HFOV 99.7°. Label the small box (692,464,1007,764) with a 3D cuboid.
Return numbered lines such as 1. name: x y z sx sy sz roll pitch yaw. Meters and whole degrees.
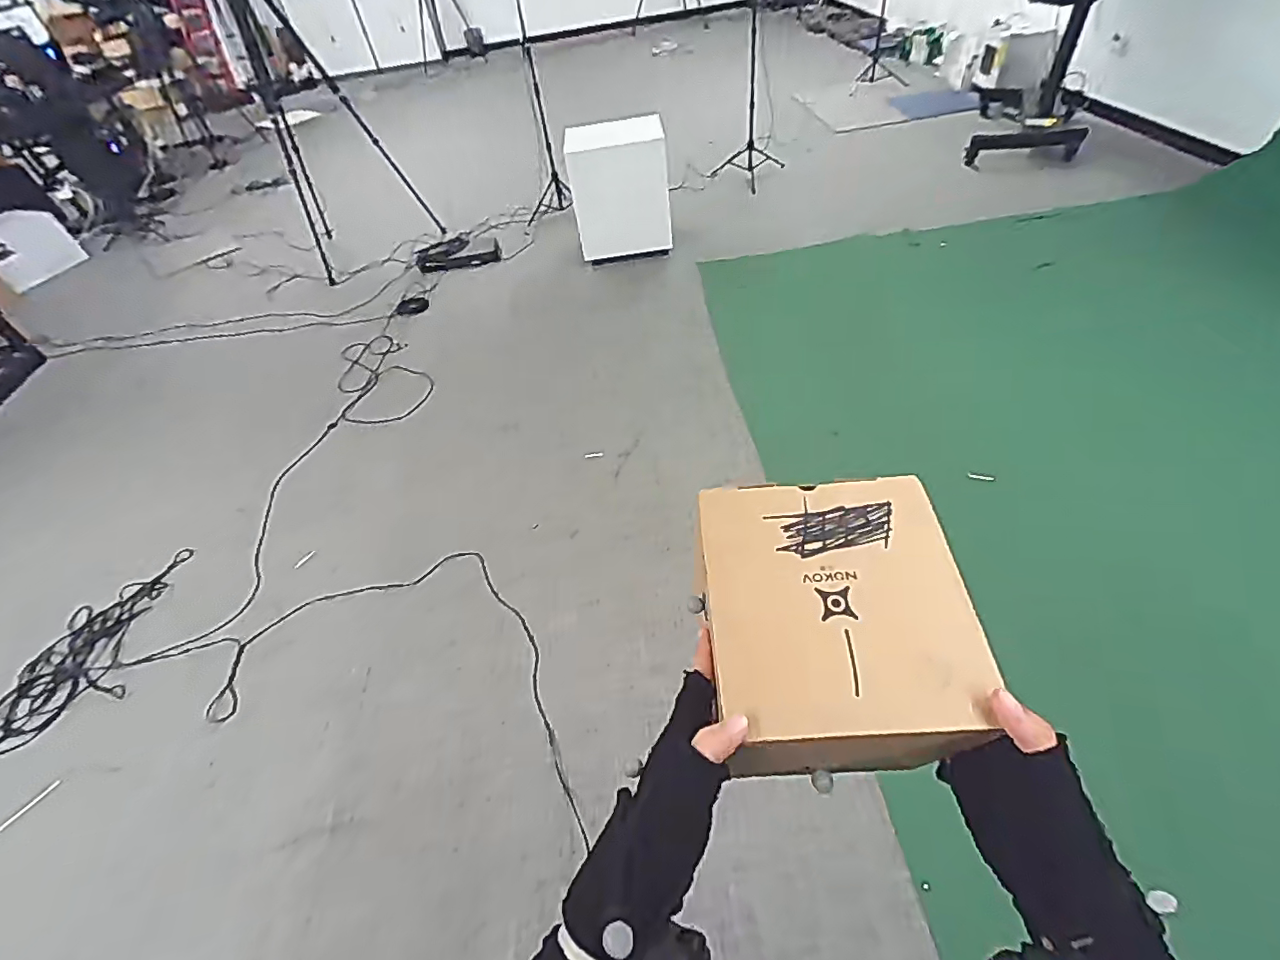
1. small box: 0.130 0.109 0.422 0.168 0.176 0.179 -4 55 2
